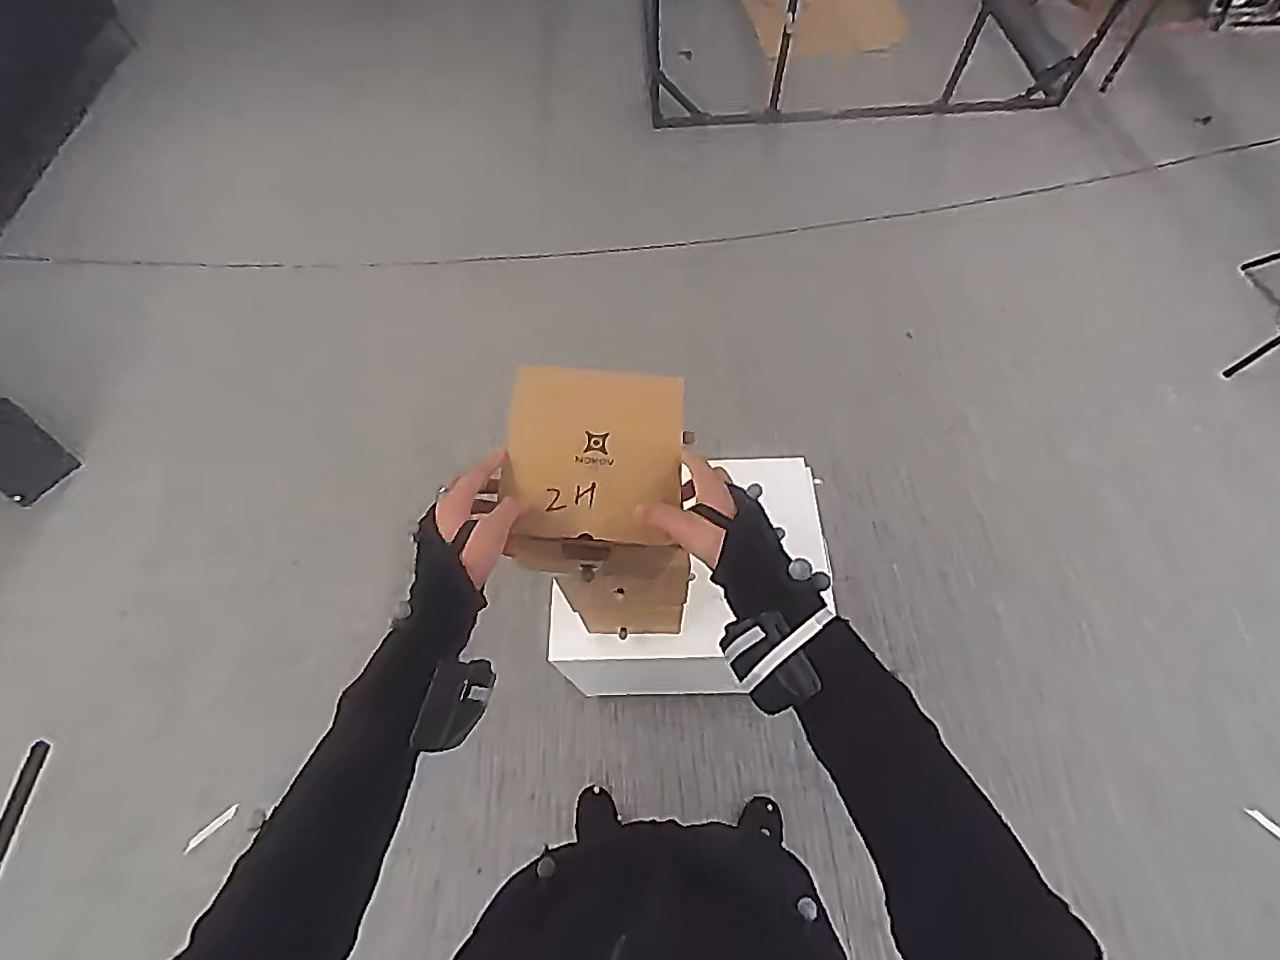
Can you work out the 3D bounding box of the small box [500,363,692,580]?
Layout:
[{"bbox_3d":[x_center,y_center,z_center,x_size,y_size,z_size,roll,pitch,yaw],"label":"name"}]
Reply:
[{"bbox_3d":[-0.041,0.000,0.579,0.168,0.176,0.179,5,70,-1],"label":"small box"}]

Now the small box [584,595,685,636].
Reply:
[{"bbox_3d":[-0.011,0.159,0.927,0.168,0.176,0.179,0,62,2],"label":"small box"}]

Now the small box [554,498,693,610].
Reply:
[{"bbox_3d":[-0.021,0.083,0.782,0.179,0.176,0.168,-5,61,1],"label":"small box"}]
